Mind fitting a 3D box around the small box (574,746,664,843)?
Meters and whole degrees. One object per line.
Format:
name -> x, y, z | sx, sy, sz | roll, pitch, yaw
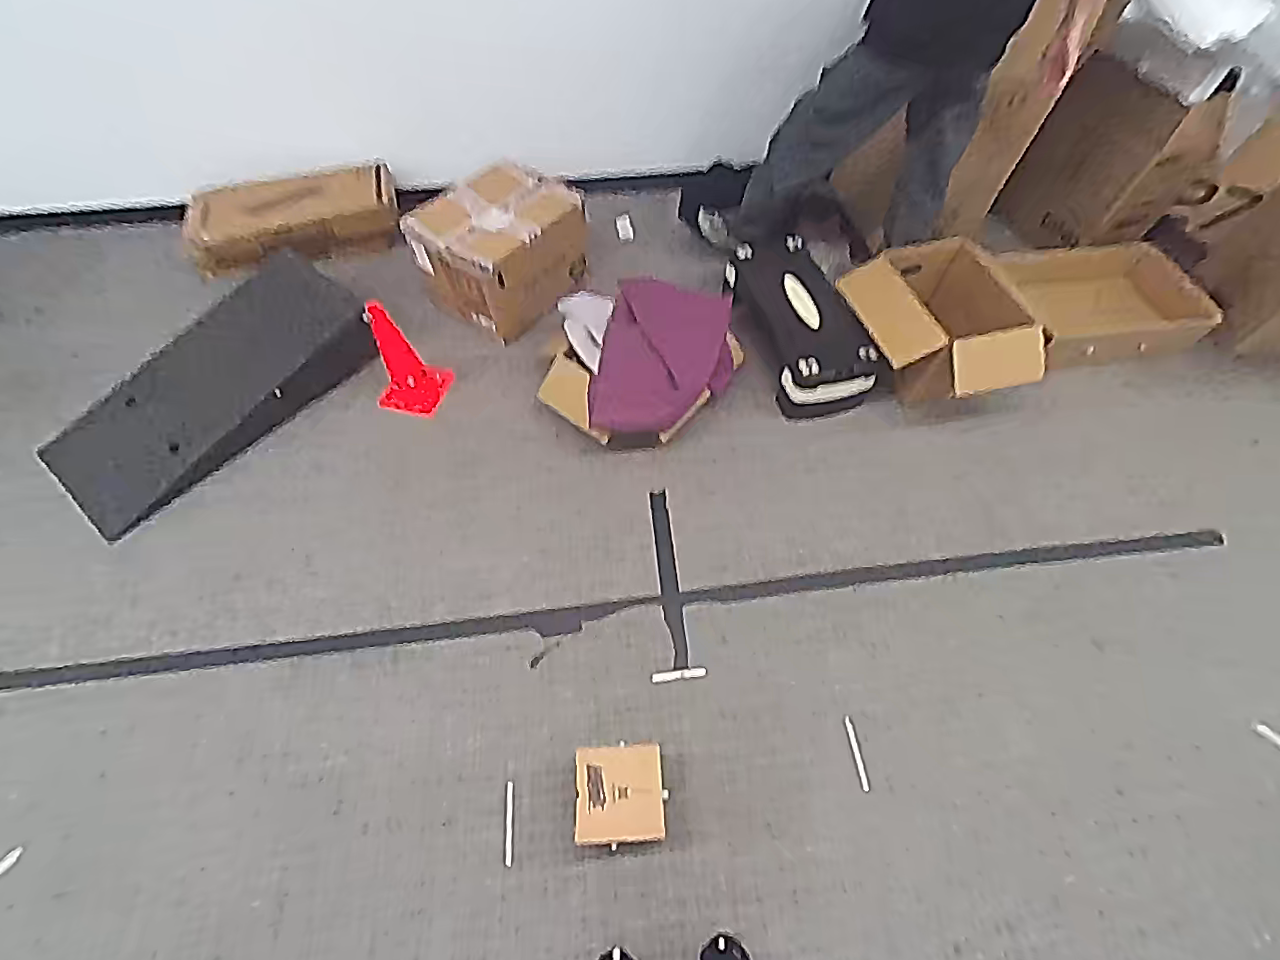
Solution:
small box -> -0.043, 0.665, 1.144 | 0.179, 0.176, 0.168 | -2, 59, -2
